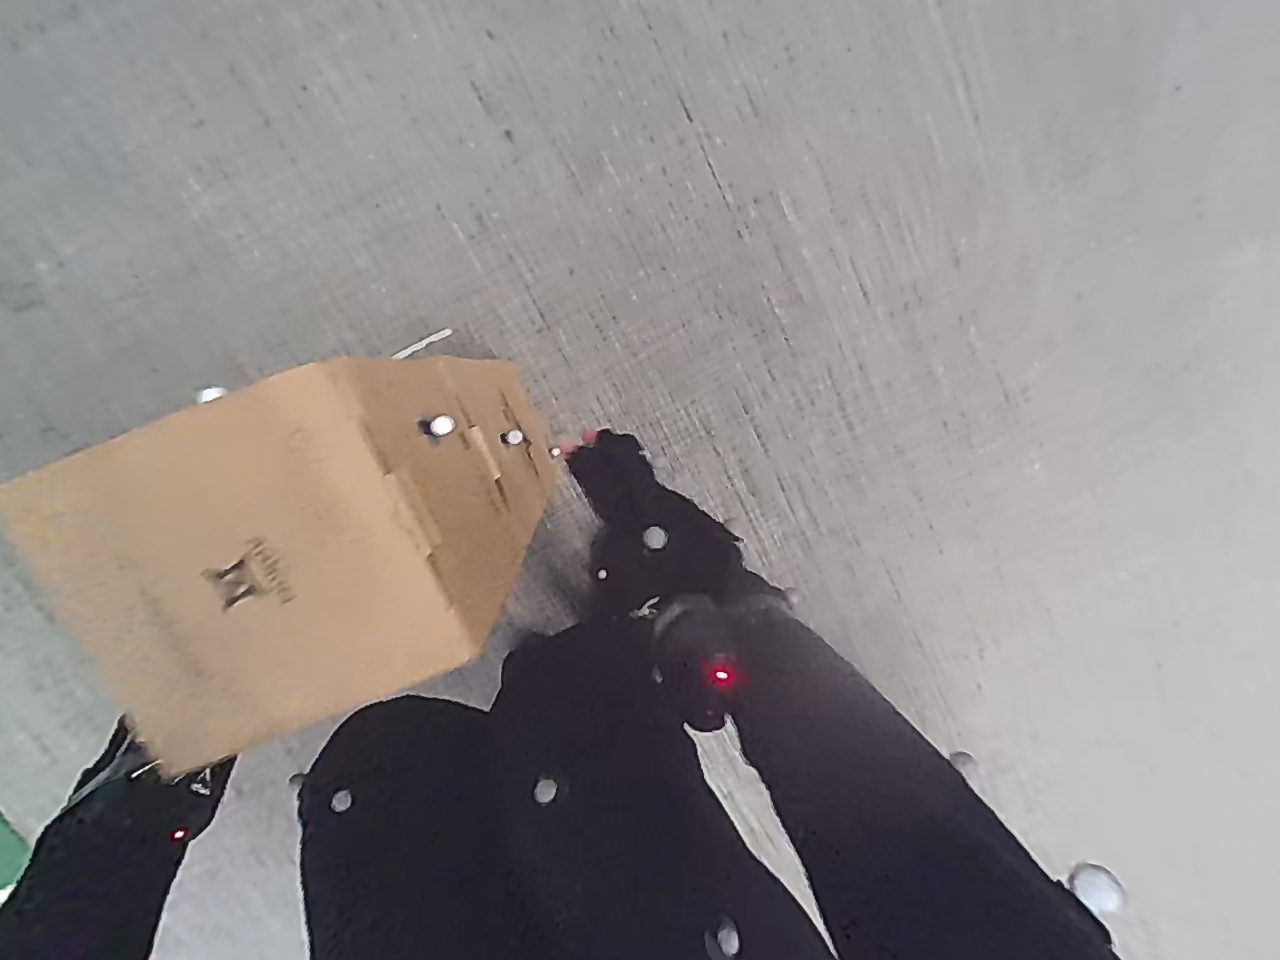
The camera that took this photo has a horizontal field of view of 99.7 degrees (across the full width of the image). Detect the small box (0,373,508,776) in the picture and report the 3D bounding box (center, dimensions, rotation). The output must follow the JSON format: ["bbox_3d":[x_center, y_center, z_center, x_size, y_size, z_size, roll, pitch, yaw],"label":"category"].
[{"bbox_3d":[-0.197,0.036,0.345,0.179,0.176,0.168,-21,101,2],"label":"small box"}]

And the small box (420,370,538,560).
[{"bbox_3d":[-0.206,0.003,0.506,0.179,0.176,0.168,-24,102,2],"label":"small box"}]

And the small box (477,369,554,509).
[{"bbox_3d":[-0.215,-0.030,0.664,0.179,0.176,0.168,-22,101,2],"label":"small box"}]
